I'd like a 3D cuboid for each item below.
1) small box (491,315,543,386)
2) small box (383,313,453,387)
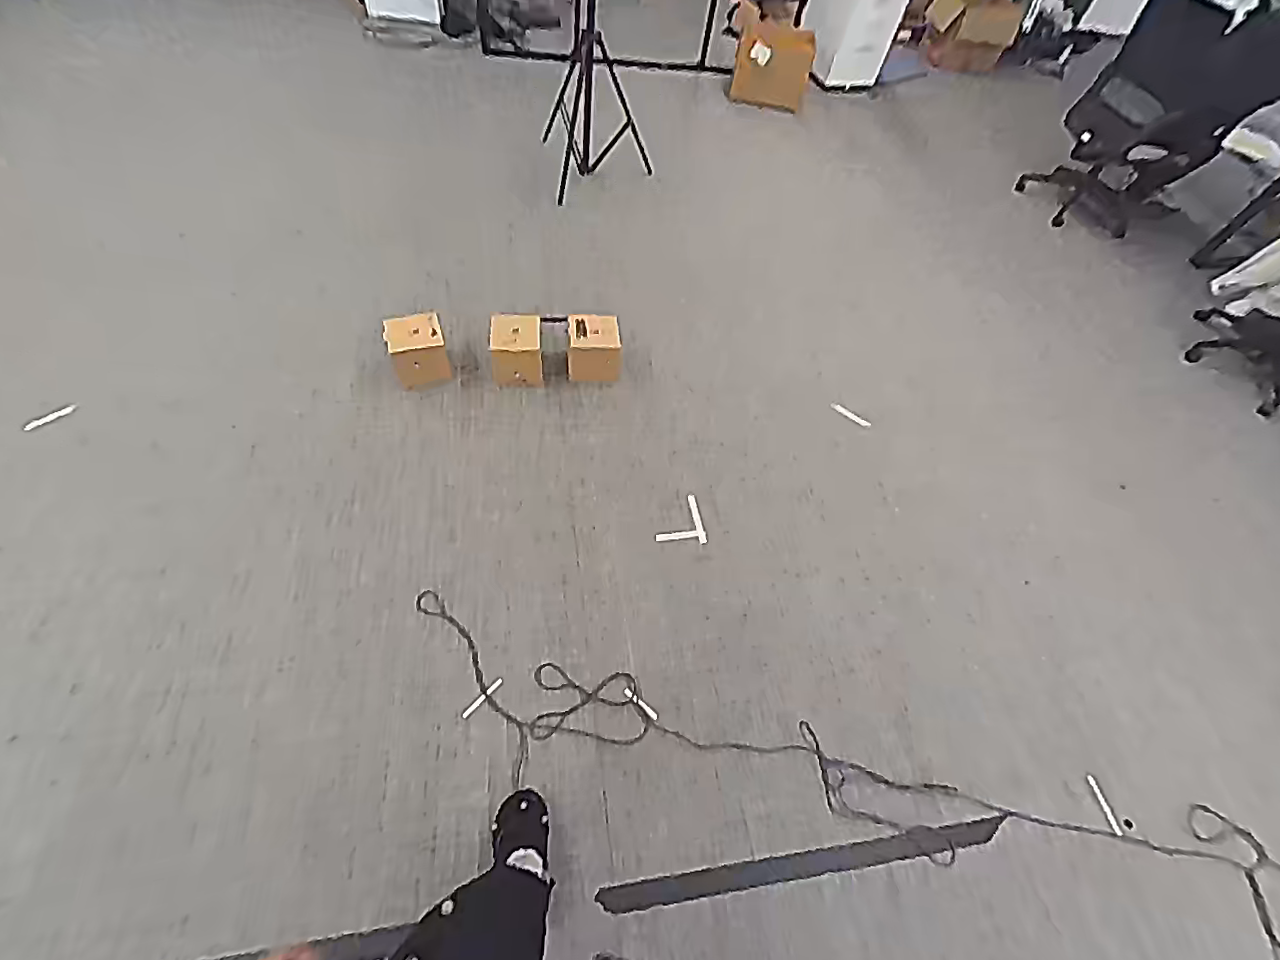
[{"bbox_3d":[-0.430,-0.454,1.903,0.168,0.176,0.179,-1,57,-9],"label":"small box"},{"bbox_3d":[-0.754,-0.438,1.847,0.179,0.176,0.168,-15,61,-16],"label":"small box"}]
